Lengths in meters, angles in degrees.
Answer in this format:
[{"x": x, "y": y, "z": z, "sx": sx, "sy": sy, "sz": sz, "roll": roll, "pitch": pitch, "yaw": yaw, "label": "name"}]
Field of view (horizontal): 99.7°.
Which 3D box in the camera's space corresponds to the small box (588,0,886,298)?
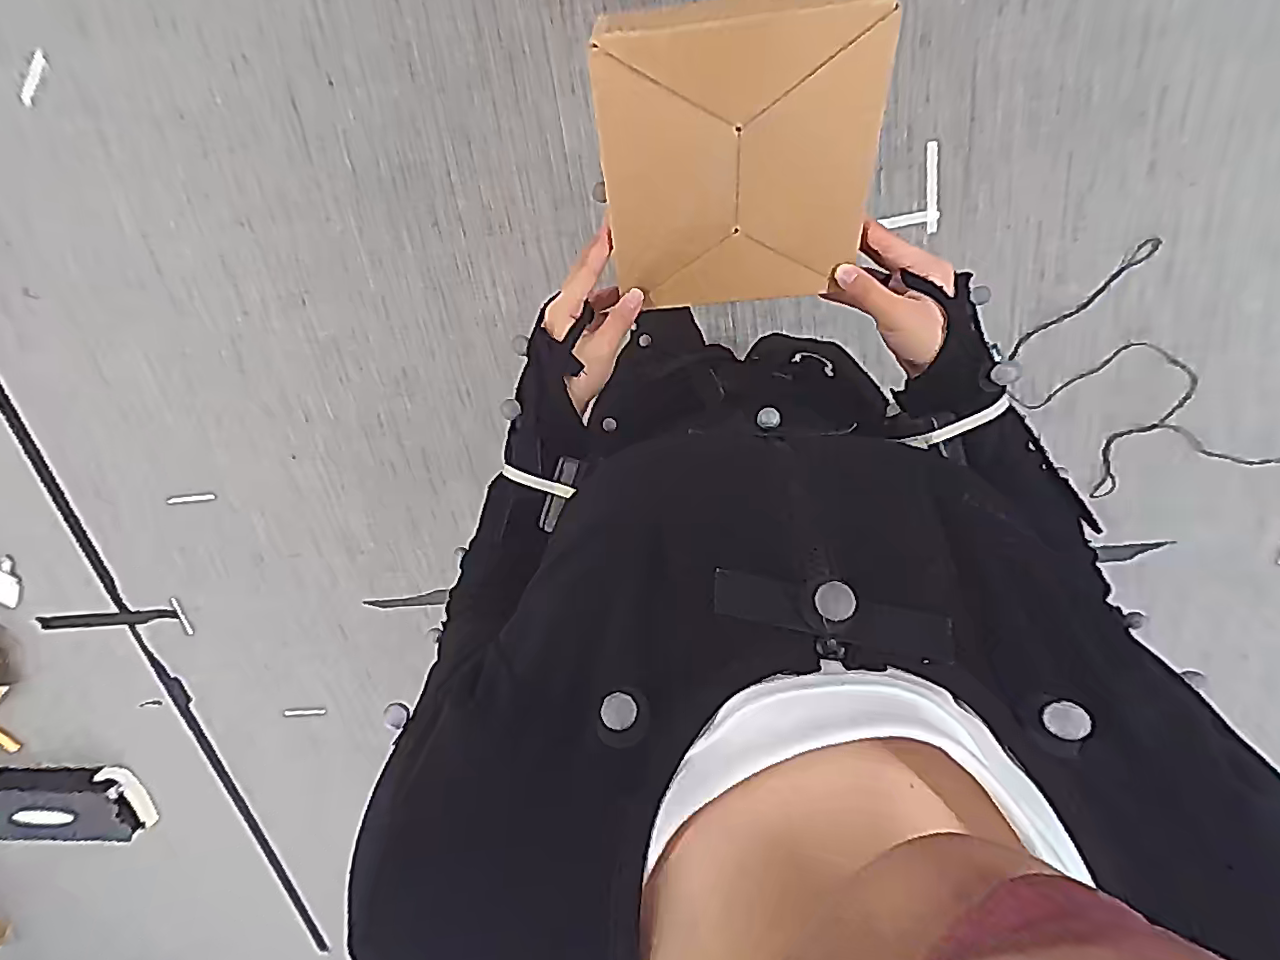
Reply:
[{"x": 0.059, "y": -0.256, "z": 0.415, "sx": 0.179, "sy": 0.176, "sz": 0.168, "roll": -4, "pitch": 134, "yaw": 4, "label": "small box"}]
